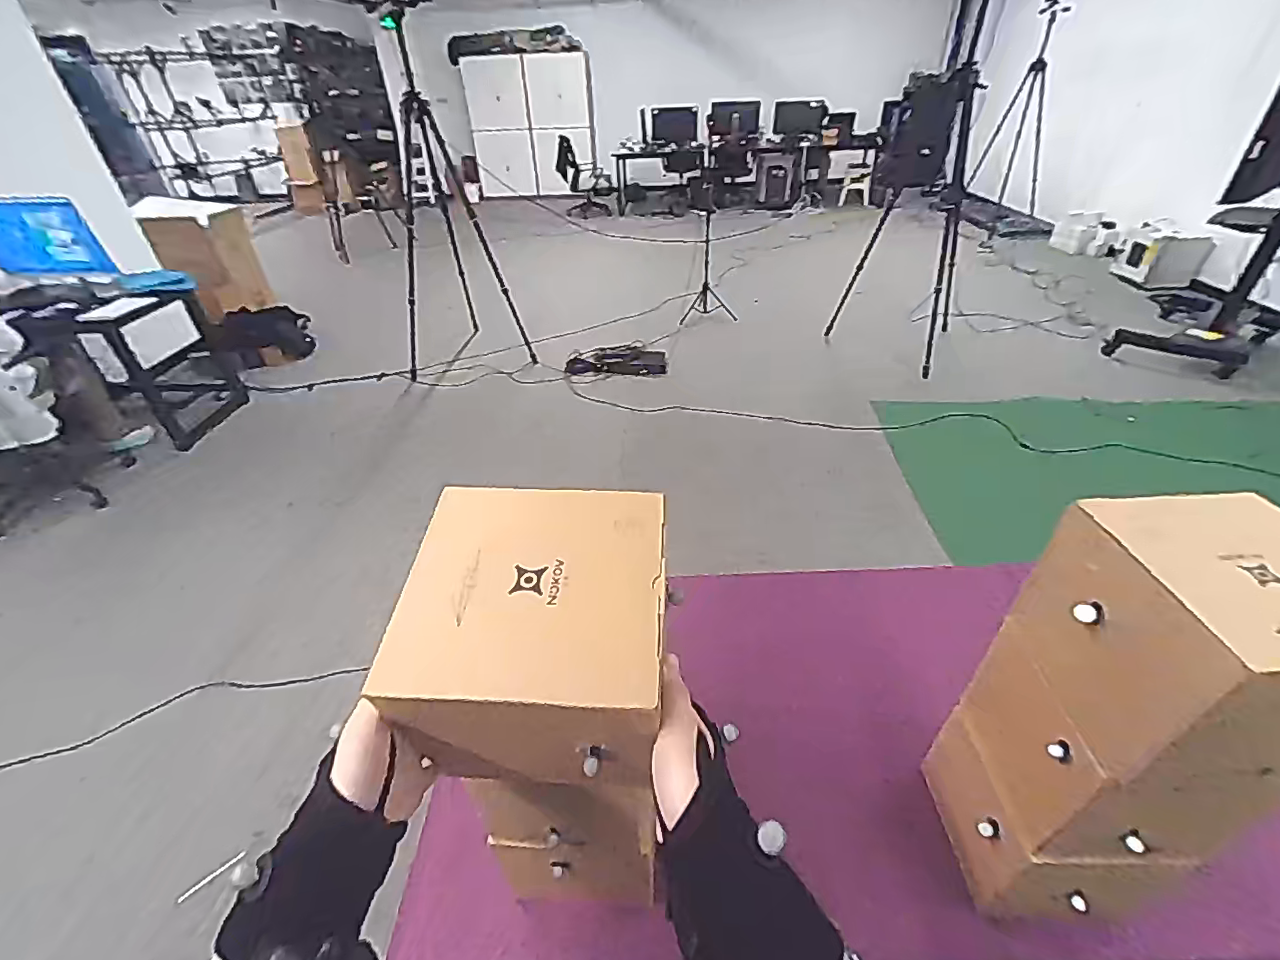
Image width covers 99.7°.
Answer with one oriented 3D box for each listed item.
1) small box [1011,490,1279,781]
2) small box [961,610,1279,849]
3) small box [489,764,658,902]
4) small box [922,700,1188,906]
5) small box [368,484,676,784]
[{"bbox_3d":[0.471,0.129,0.467,0.168,0.176,0.179,-4,37,0],"label":"small box"},{"bbox_3d":[0.477,0.258,0.569,0.168,0.176,0.179,-1,38,2],"label":"small box"},{"bbox_3d":[-0.069,0.404,0.682,0.179,0.176,0.168,1,37,3],"label":"small box"},{"bbox_3d":[0.478,0.393,0.661,0.168,0.176,0.179,-1,37,2],"label":"small box"},{"bbox_3d":[-0.064,0.121,0.417,0.179,0.176,0.168,1,47,4],"label":"small box"}]
